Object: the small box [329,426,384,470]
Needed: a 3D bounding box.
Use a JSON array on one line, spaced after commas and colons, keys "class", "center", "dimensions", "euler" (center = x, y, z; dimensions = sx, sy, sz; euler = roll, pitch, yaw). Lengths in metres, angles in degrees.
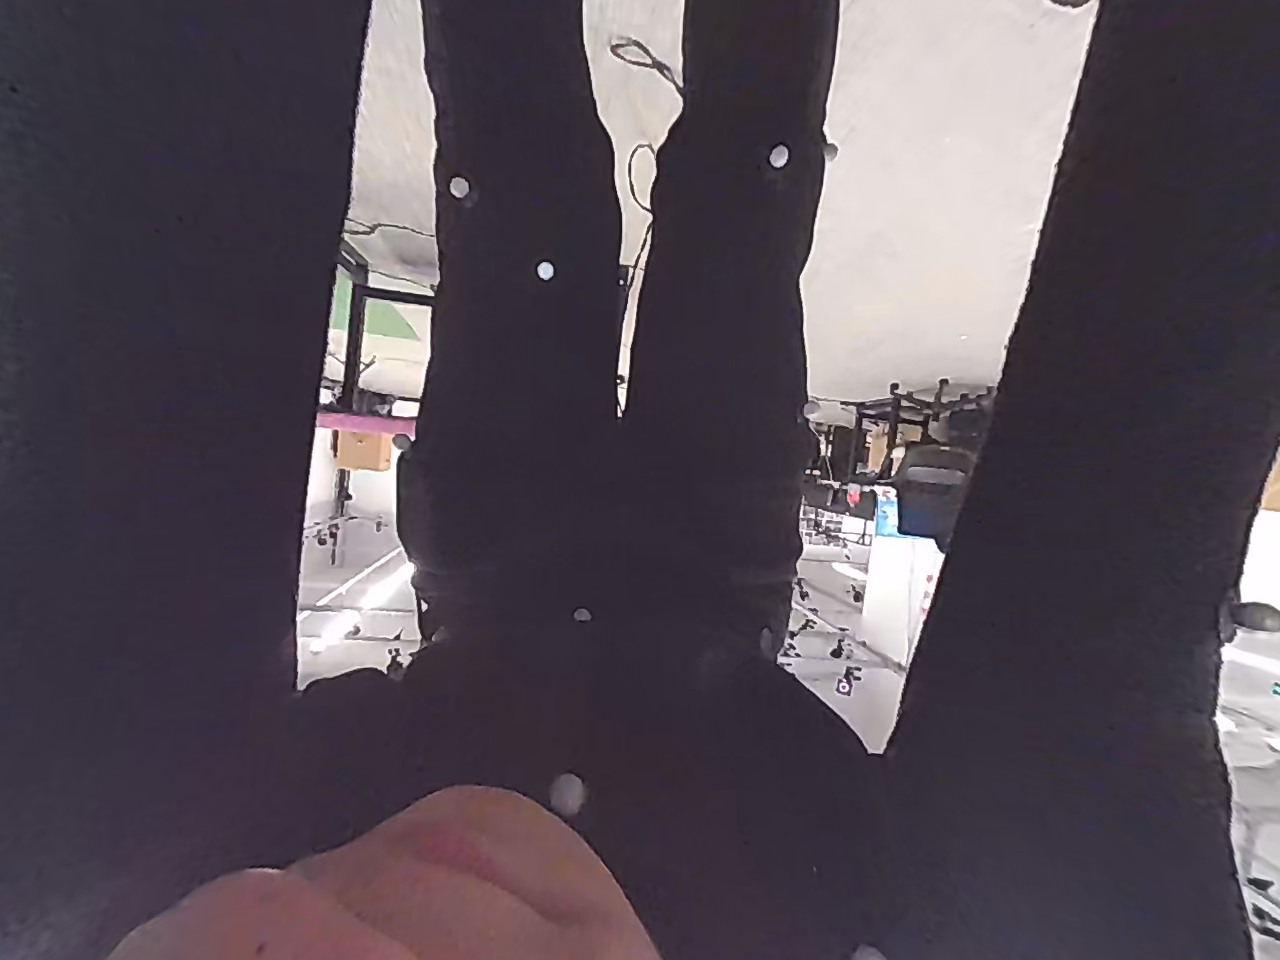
[{"class": "small box", "center": [-1.198, -0.136, 2.296], "dimensions": [0.168, 0.176, 0.179], "euler": [4, -178, -12]}]
